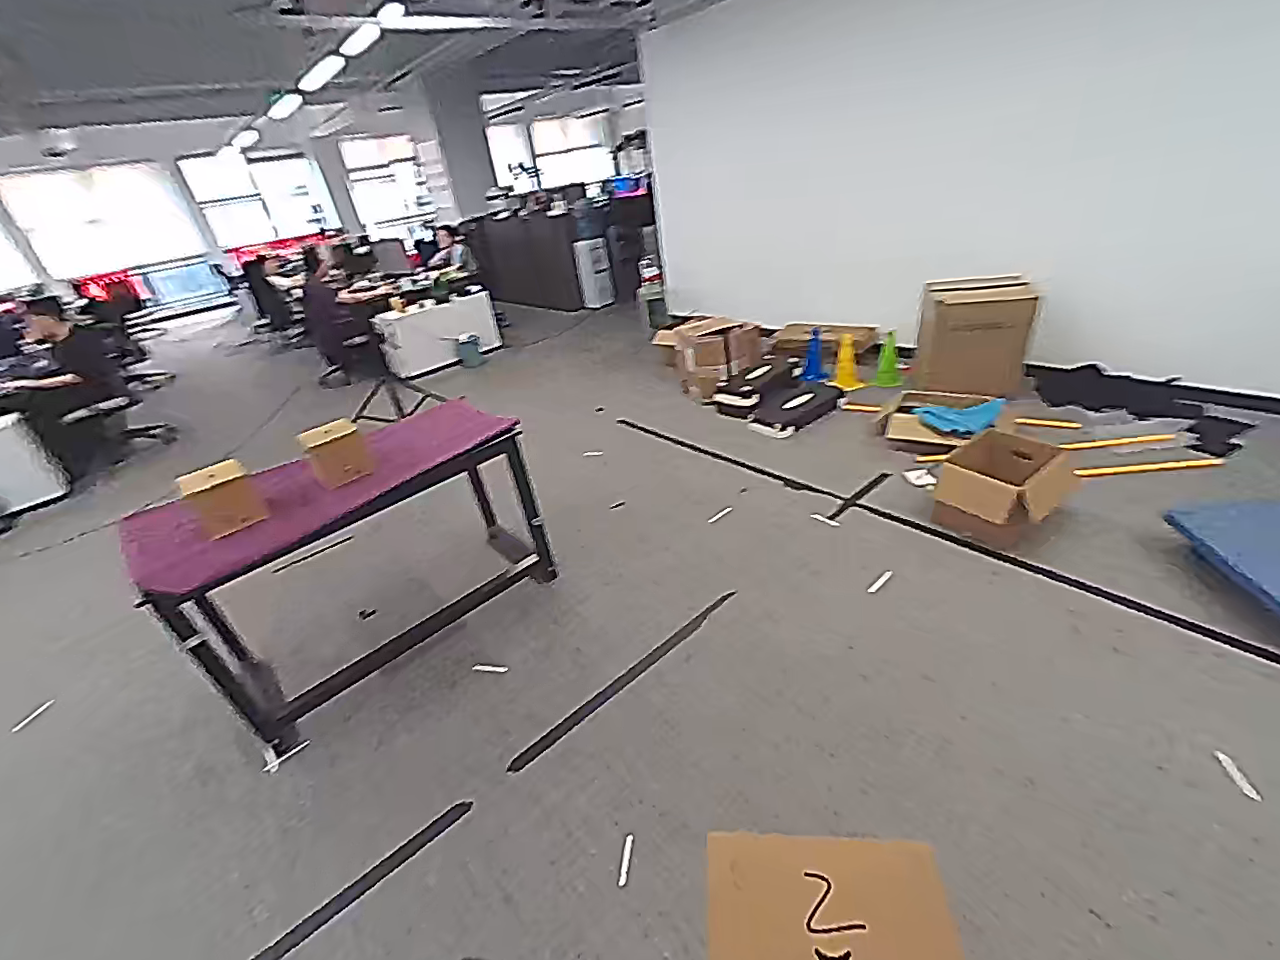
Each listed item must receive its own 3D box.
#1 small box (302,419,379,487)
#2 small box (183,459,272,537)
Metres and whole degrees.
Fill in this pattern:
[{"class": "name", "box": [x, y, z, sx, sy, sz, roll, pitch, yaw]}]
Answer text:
[{"class": "small box", "box": [-1.062, -0.097, 1.921, 0.168, 0.176, 0.179, -31, 37, -31]}, {"class": "small box", "box": [-1.320, 0.058, 1.734, 0.168, 0.176, 0.179, -30, 38, -33]}]
